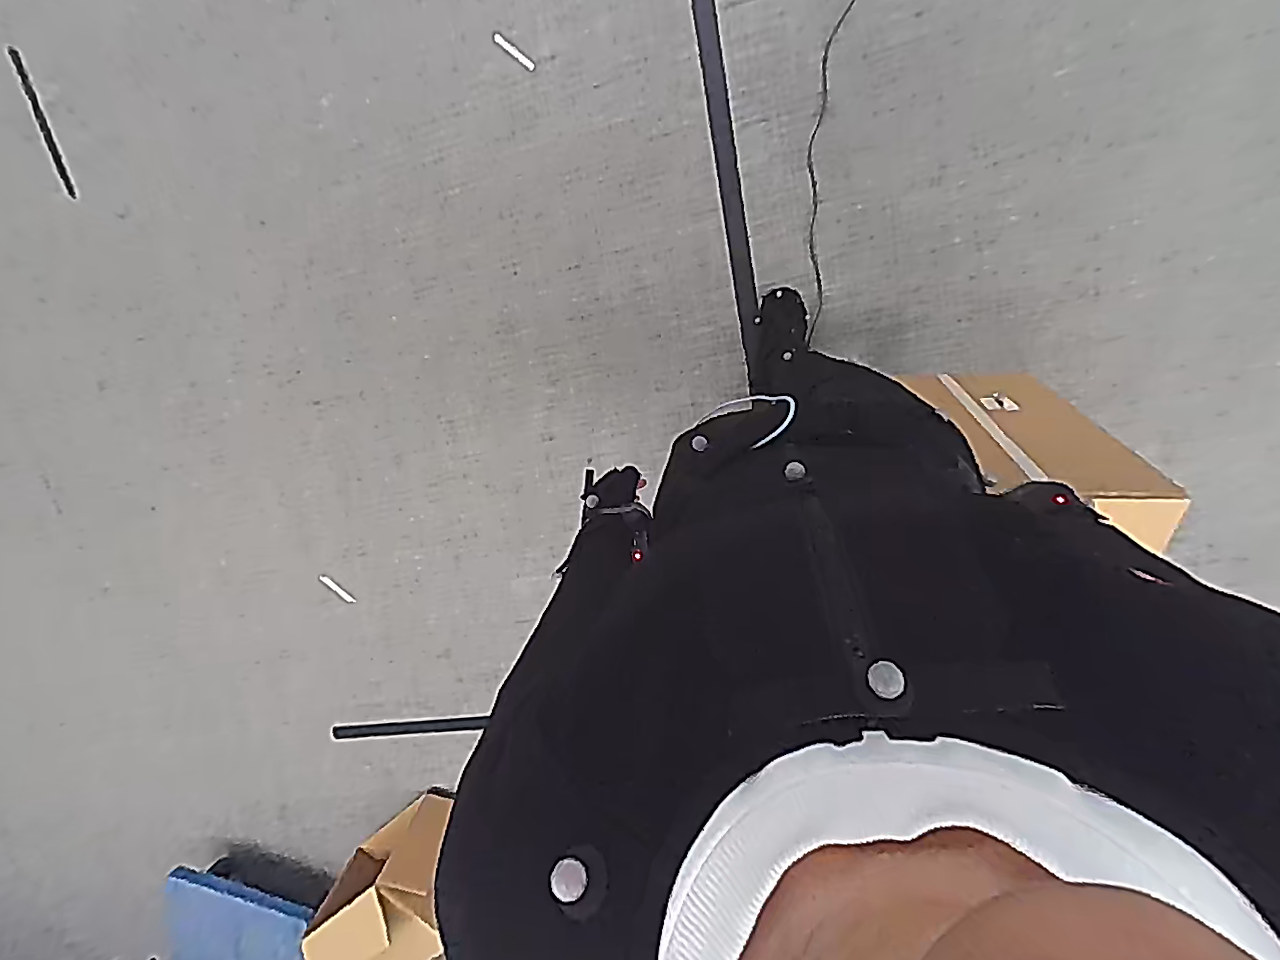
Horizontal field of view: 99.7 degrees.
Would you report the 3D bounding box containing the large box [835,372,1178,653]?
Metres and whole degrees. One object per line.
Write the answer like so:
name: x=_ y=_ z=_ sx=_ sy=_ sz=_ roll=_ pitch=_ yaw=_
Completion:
large box: x=0.542 y=0.037 z=0.921 sx=0.320 sy=0.408 sz=0.320 roll=0 pitch=121 yaw=7
